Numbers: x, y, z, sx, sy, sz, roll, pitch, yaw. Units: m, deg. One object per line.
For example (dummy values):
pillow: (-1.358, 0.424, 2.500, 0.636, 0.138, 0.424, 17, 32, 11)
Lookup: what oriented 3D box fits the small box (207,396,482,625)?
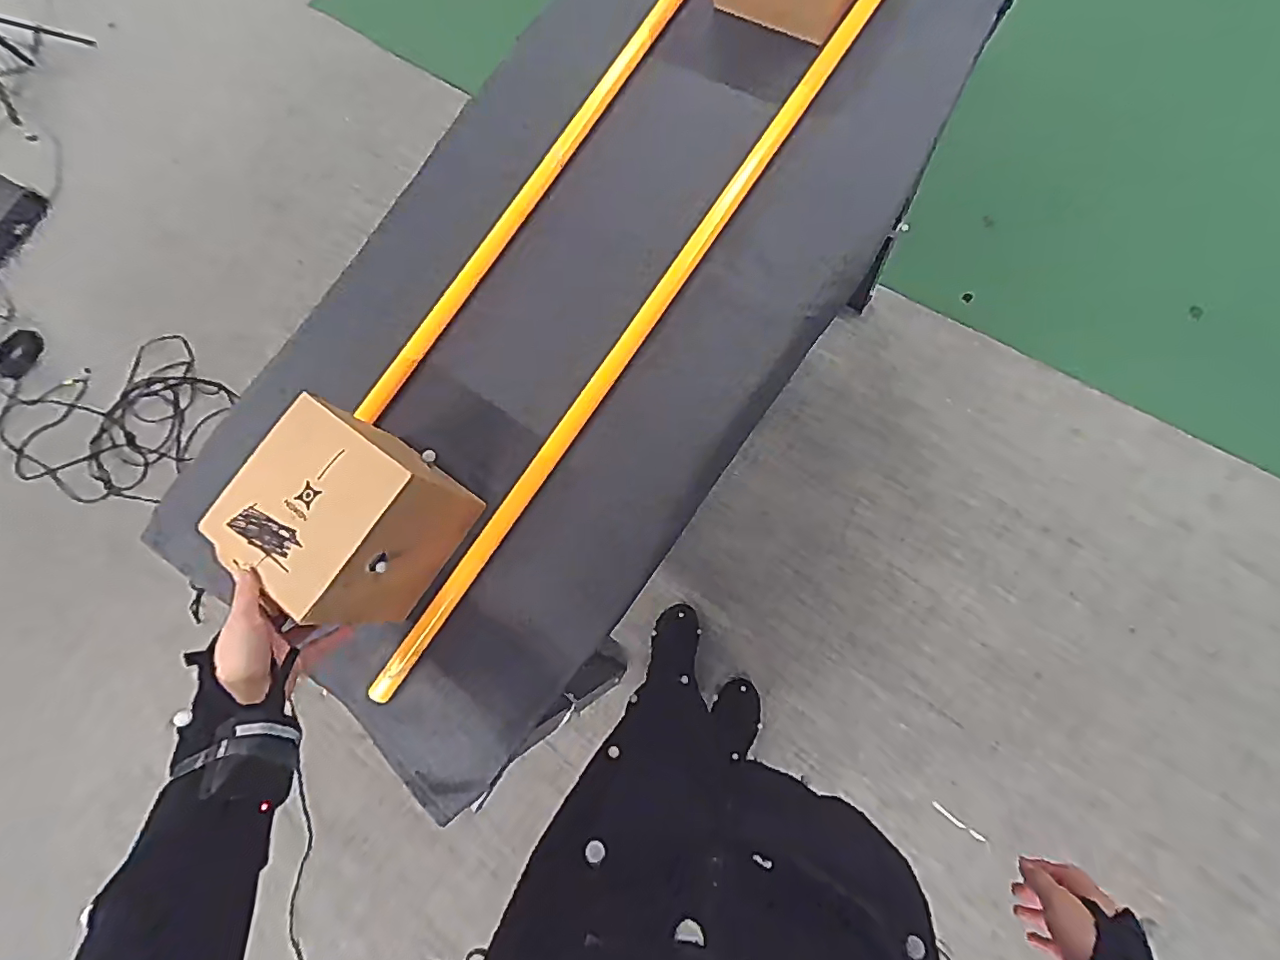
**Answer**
small box: (-0.312, 0.043, 0.609, 0.168, 0.176, 0.179, 34, 84, 15)
